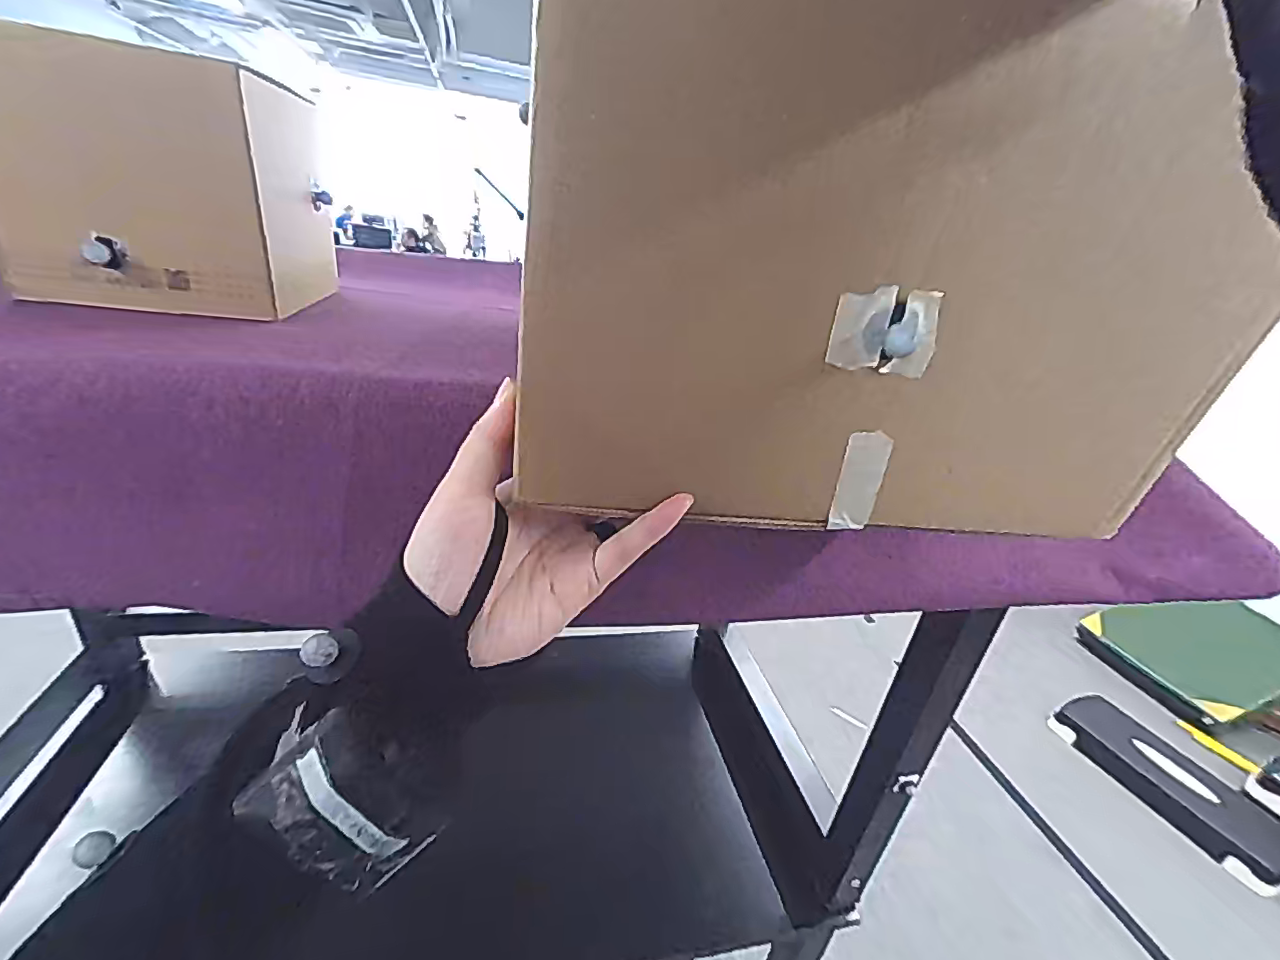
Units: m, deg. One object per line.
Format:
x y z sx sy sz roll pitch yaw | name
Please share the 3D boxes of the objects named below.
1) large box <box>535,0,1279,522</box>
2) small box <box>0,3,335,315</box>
0.097 -0.211 0.345 0.320 0.320 0.408 5 30 -11 | large box
-0.361 -0.239 0.434 0.168 0.176 0.179 1 26 -14 | small box
